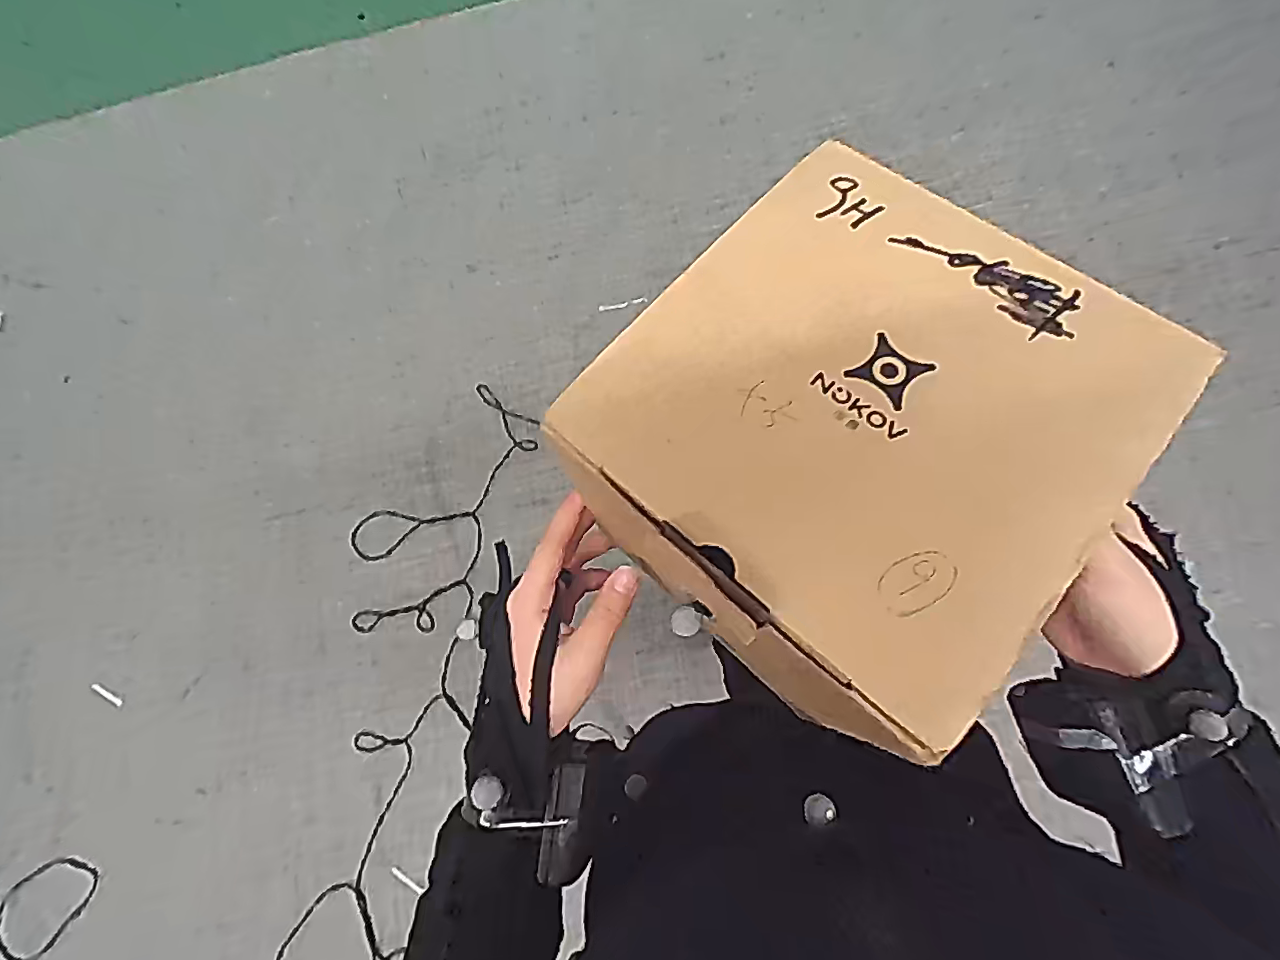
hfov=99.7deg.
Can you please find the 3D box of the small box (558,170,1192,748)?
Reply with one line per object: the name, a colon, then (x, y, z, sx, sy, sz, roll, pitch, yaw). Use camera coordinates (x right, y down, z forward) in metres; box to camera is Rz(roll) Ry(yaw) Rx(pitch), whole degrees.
small box: (0.090, -0.001, 0.277, 0.168, 0.176, 0.179, 41, 78, 16)
